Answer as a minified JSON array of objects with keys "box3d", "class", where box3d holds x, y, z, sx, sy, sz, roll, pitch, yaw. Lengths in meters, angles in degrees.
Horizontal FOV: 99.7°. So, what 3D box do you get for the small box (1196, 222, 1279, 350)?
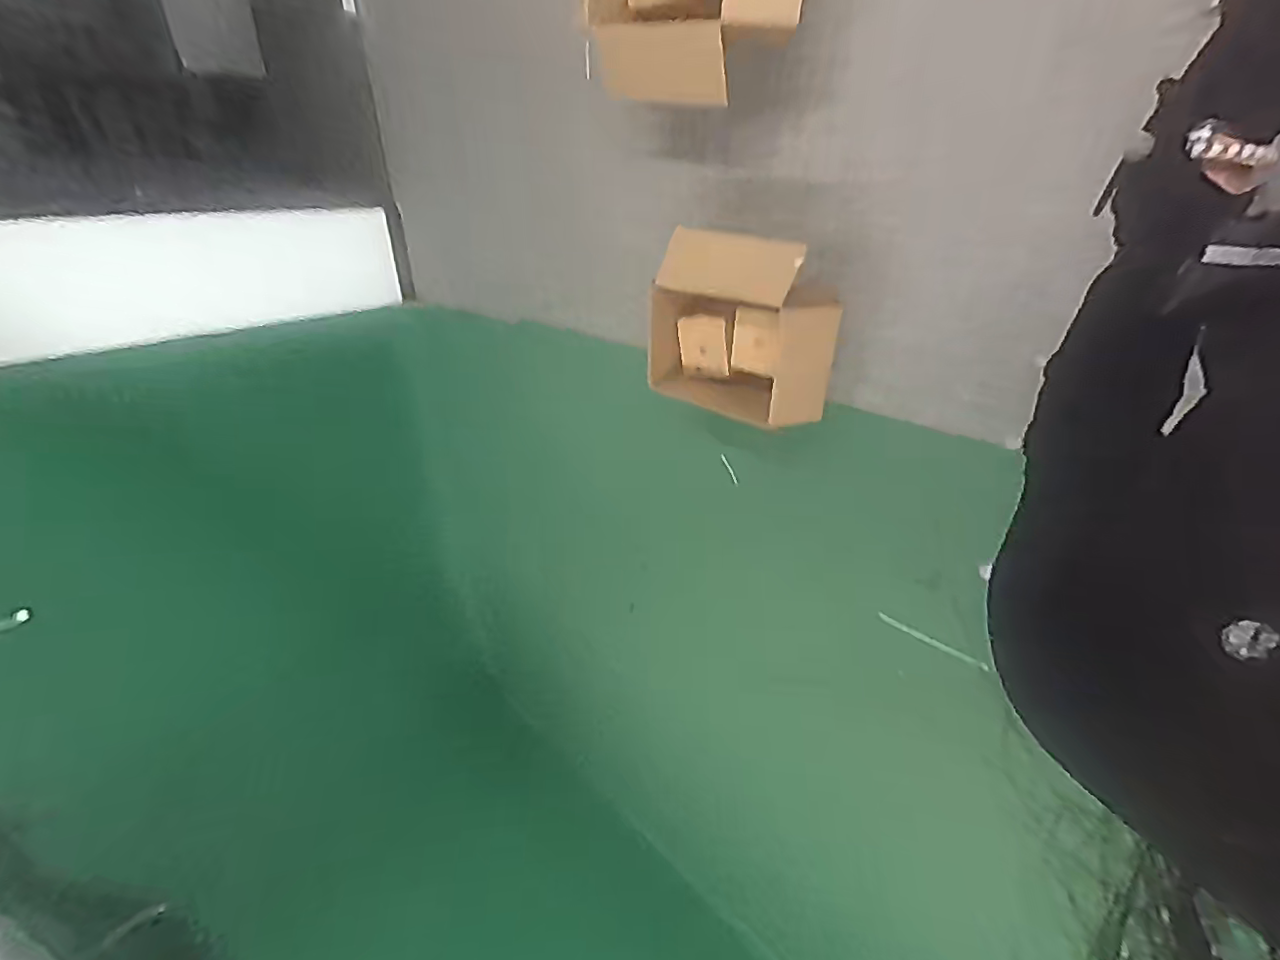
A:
[{"box3d":[1.090,-0.336,0.901,0.168,0.176,0.179,60,159,-10],"class":"small box"}]
